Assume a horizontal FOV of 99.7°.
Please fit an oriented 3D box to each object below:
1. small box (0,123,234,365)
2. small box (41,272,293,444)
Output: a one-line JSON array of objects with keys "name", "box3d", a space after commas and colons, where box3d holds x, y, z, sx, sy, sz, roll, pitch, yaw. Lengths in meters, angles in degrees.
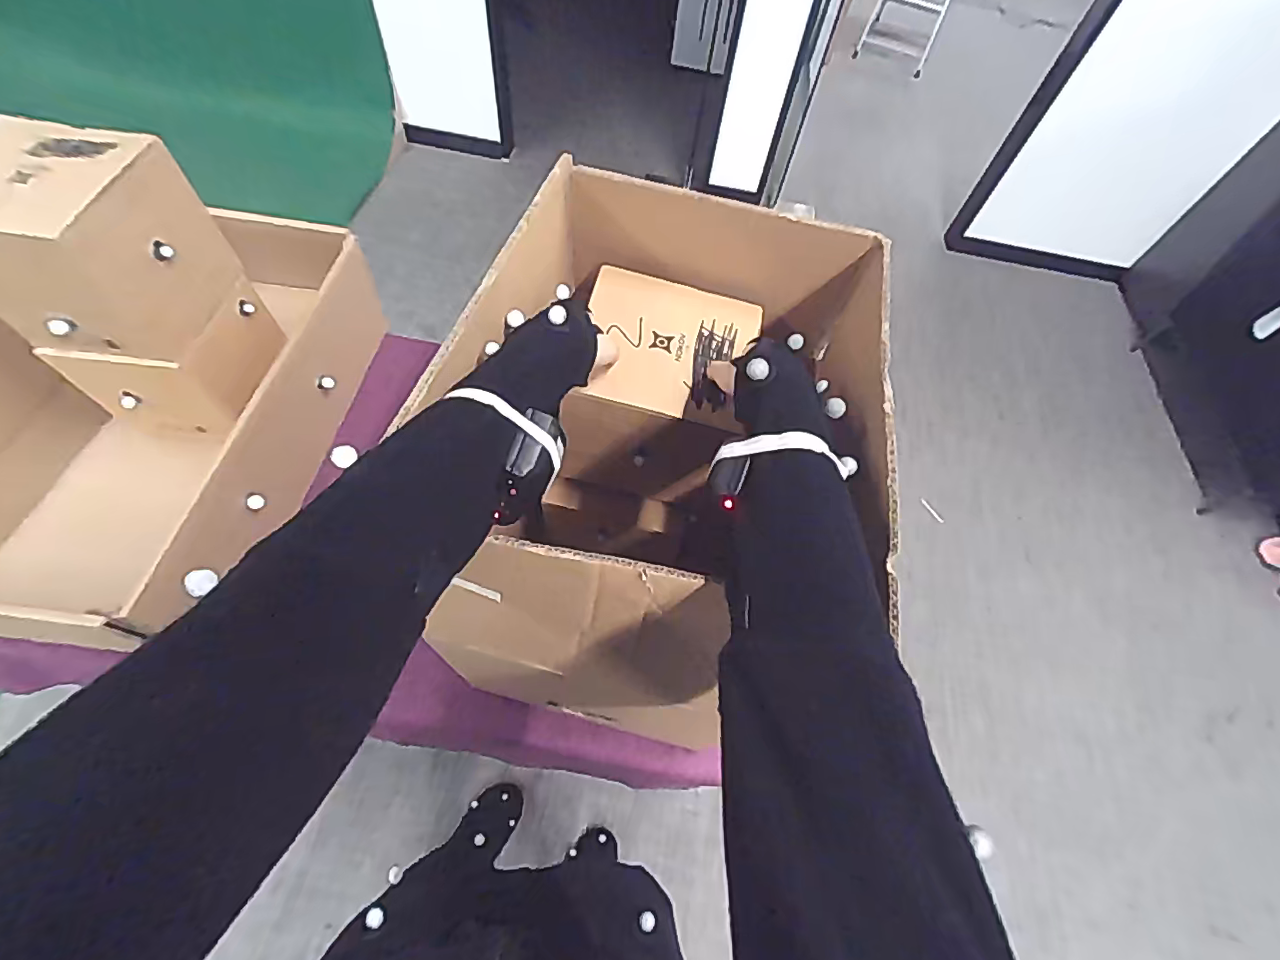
[{"name": "small box", "box3d": [-0.607, -0.257, 0.607, 0.168, 0.176, 0.179, 7, 61, -1]}, {"name": "small box", "box3d": [-0.621, -0.168, 0.745, 0.168, 0.176, 0.179, 6, 59, -2]}]
